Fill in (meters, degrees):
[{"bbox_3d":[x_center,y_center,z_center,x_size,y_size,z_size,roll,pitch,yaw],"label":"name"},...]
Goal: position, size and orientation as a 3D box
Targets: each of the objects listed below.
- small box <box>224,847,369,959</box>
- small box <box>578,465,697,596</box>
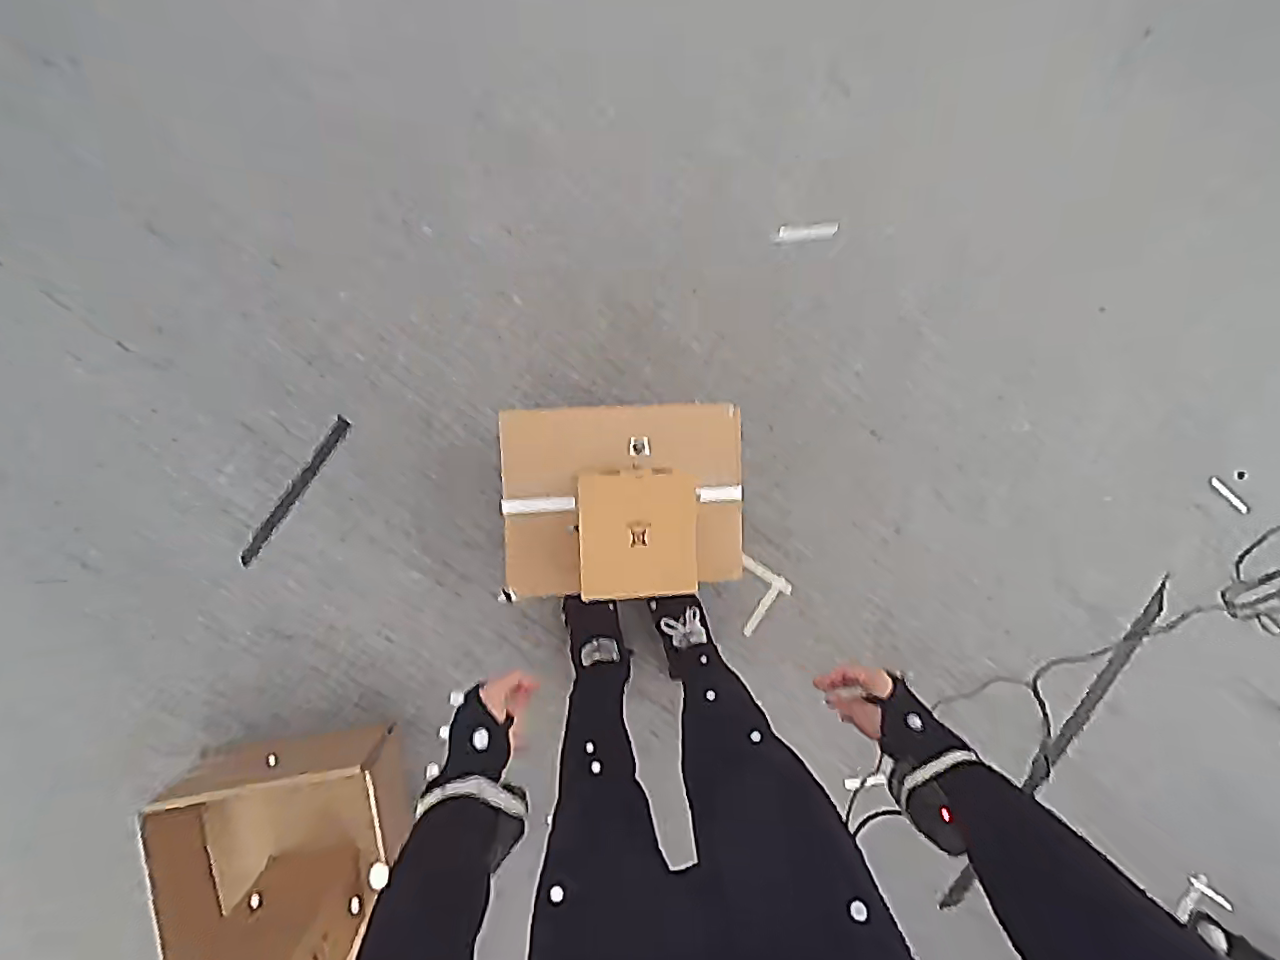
[{"bbox_3d":[-0.650,0.852,1.042,0.179,0.176,0.168,-5,93,-7],"label":"small box"},{"bbox_3d":[-0.010,0.068,0.831,0.168,0.176,0.179,-2,92,-7],"label":"small box"}]
